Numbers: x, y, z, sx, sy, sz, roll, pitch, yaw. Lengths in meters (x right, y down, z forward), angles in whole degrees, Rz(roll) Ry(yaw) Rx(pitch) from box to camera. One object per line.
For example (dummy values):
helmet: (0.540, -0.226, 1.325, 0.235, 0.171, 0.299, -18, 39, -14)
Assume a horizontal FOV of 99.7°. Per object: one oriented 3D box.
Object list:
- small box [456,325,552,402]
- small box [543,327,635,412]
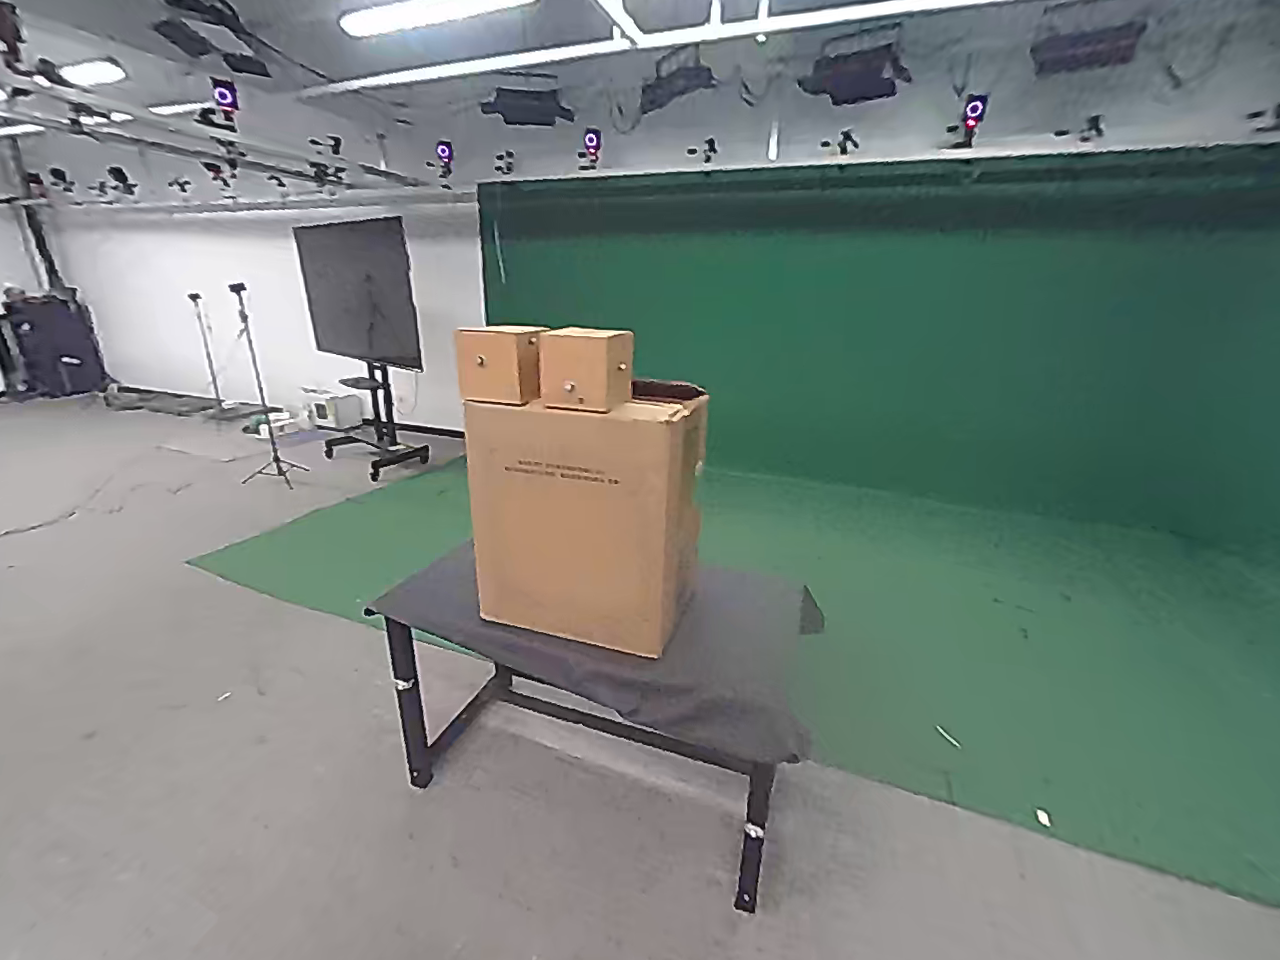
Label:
small box: (-0.332, -0.294, 1.350, 0.179, 0.176, 0.168, 8, 21, 18)
small box: (-0.121, -0.268, 1.292, 0.168, 0.176, 0.179, 9, 22, 17)
